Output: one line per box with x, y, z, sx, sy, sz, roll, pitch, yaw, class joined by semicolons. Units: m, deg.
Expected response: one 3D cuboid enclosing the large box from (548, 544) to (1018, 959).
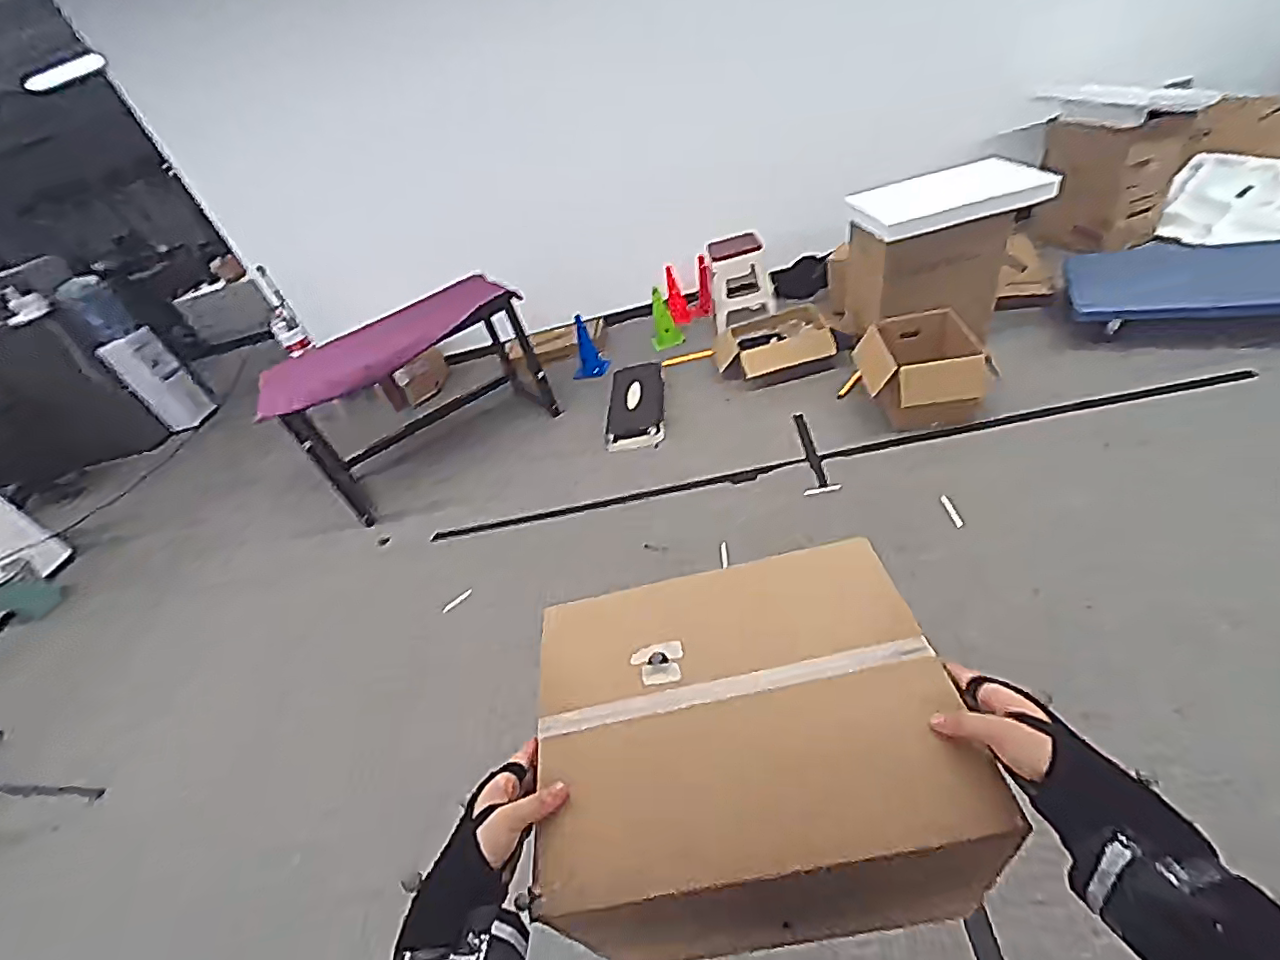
0.134;0.330;0.653;0.408;0.320;0.320;-14;39;5;large box
